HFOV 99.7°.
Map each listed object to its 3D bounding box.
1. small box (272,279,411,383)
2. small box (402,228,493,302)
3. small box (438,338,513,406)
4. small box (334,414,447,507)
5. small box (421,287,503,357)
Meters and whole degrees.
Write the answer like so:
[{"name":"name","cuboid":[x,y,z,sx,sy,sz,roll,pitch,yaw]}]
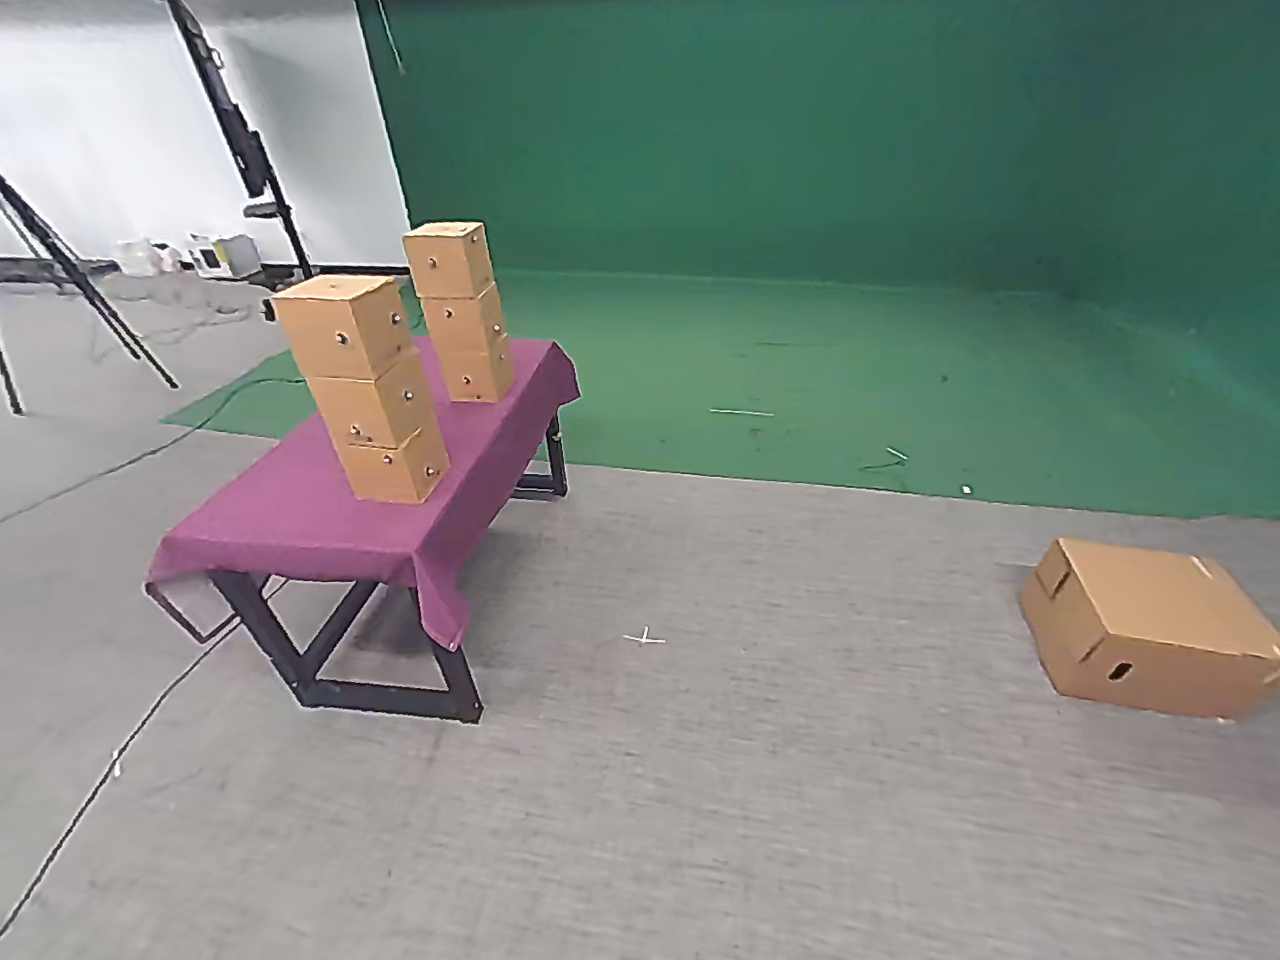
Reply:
[{"name":"small box","cuboid":[-0.621,-0.318,1.153,0.179,0.176,0.168,4,35,9]},{"name":"small box","cuboid":[-0.550,-0.622,1.568,0.179,0.176,0.168,2,37,8]},{"name":"small box","cuboid":[-0.526,-0.352,1.756,0.168,0.176,0.179,4,36,8]},{"name":"small box","cuboid":[-0.608,-0.049,1.340,0.179,0.176,0.168,4,36,8]},{"name":"small box","cuboid":[-0.539,-0.486,1.661,0.179,0.176,0.168,3,36,6]}]
